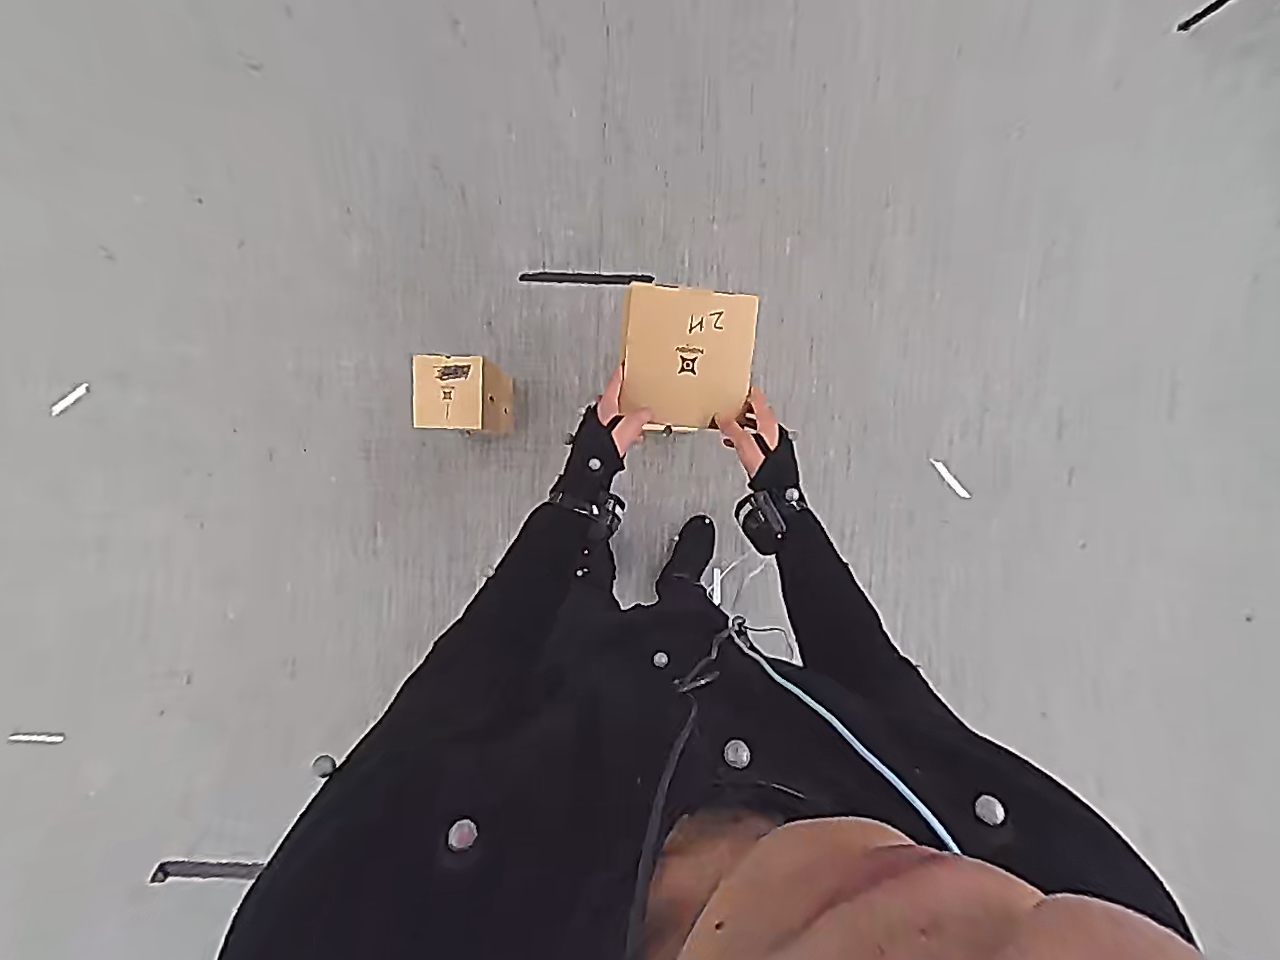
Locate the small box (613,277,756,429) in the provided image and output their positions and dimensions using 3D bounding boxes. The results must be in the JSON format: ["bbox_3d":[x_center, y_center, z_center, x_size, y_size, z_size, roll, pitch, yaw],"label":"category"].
[{"bbox_3d":[0.051,-0.170,0.763,0.168,0.176,0.179,4,98,-7],"label":"small box"}]

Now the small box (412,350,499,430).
[{"bbox_3d":[-0.455,-0.219,1.351,0.168,0.176,0.179,2,94,0],"label":"small box"}]

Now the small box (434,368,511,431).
[{"bbox_3d":[-0.463,-0.226,1.515,0.179,0.176,0.168,1,93,0],"label":"small box"}]
